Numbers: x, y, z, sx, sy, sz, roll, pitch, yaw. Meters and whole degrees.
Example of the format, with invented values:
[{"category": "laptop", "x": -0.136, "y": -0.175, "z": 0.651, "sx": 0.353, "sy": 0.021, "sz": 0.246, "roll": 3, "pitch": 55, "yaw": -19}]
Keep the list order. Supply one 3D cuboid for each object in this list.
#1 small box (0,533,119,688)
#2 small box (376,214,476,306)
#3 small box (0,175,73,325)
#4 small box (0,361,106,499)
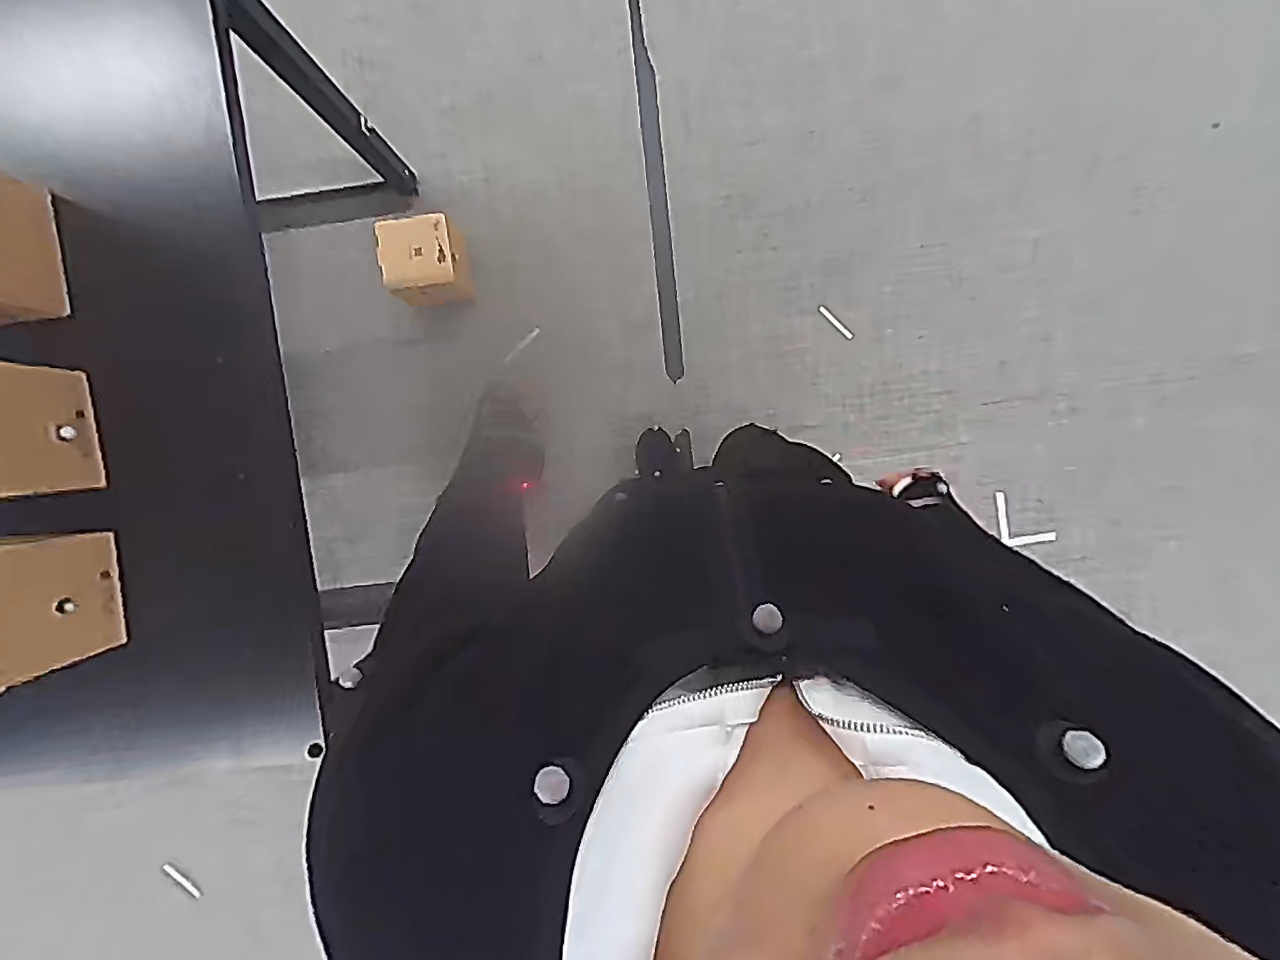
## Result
[{"category": "small box", "x": -0.843, "y": 0.165, "z": 0.712, "sx": 0.179, "sy": 0.176, "sz": 0.168, "roll": -4, "pitch": 93, "yaw": 2}, {"category": "small box", "x": -0.543, "y": -0.556, "z": 1.389, "sx": 0.179, "sy": 0.176, "sz": 0.168, "roll": -7, "pitch": 94, "yaw": 2}, {"category": "small box", "x": -0.893, "y": -0.304, "z": 0.685, "sx": 0.168, "sy": 0.176, "sz": 0.179, "roll": -6, "pitch": 95, "yaw": 3}, {"category": "small box", "x": -0.864, "y": -0.058, "z": 0.698, "sx": 0.179, "sy": 0.176, "sz": 0.168, "roll": -7, "pitch": 94, "yaw": 1}]
